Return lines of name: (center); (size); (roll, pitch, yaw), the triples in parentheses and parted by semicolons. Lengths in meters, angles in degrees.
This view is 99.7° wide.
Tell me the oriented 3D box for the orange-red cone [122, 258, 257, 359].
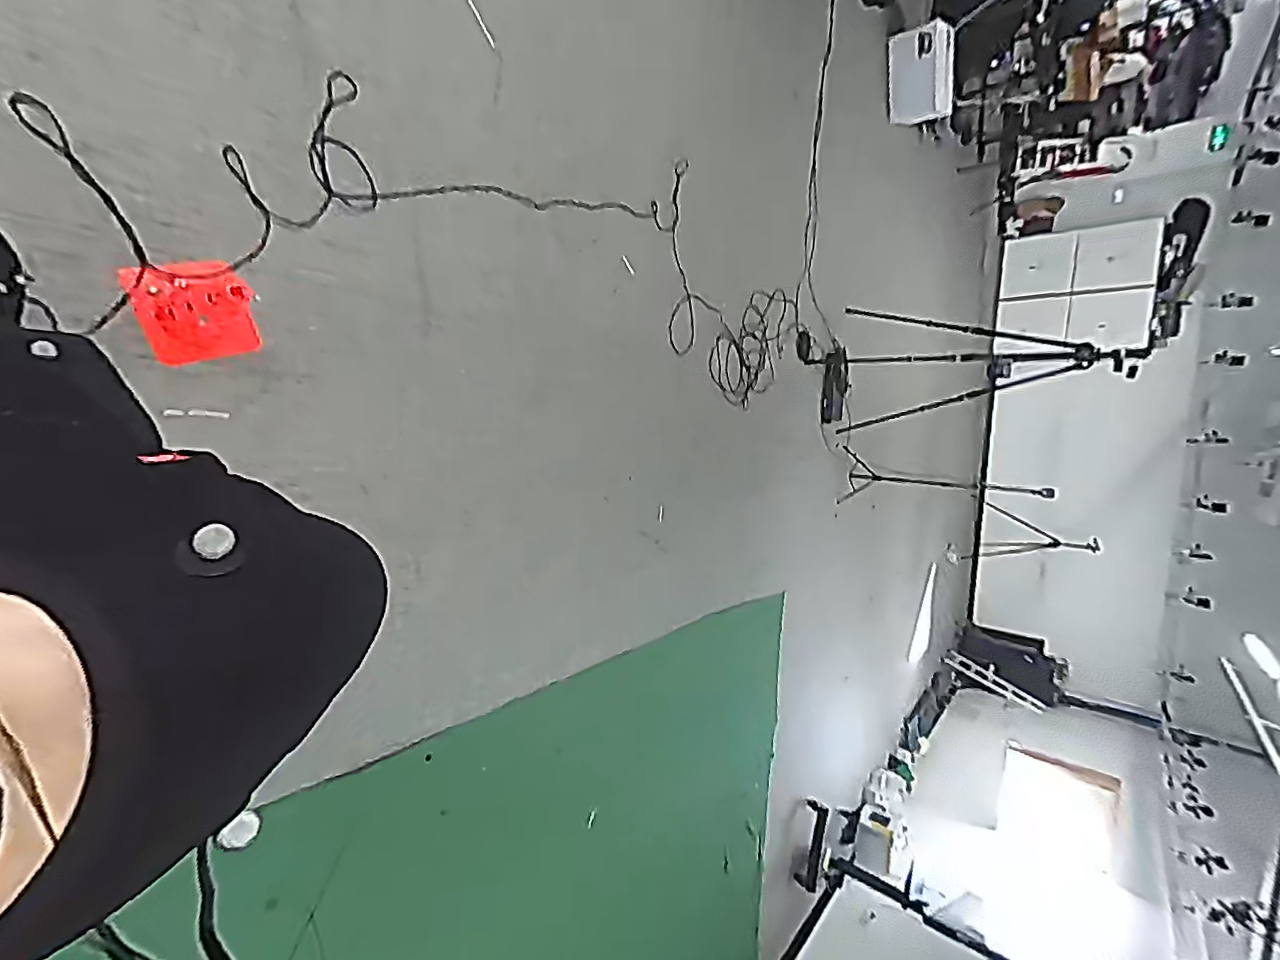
orange-red cone: (-0.842, -0.356, 1.067); (0.198, 0.360, 0.199); (-28, 118, -43)
